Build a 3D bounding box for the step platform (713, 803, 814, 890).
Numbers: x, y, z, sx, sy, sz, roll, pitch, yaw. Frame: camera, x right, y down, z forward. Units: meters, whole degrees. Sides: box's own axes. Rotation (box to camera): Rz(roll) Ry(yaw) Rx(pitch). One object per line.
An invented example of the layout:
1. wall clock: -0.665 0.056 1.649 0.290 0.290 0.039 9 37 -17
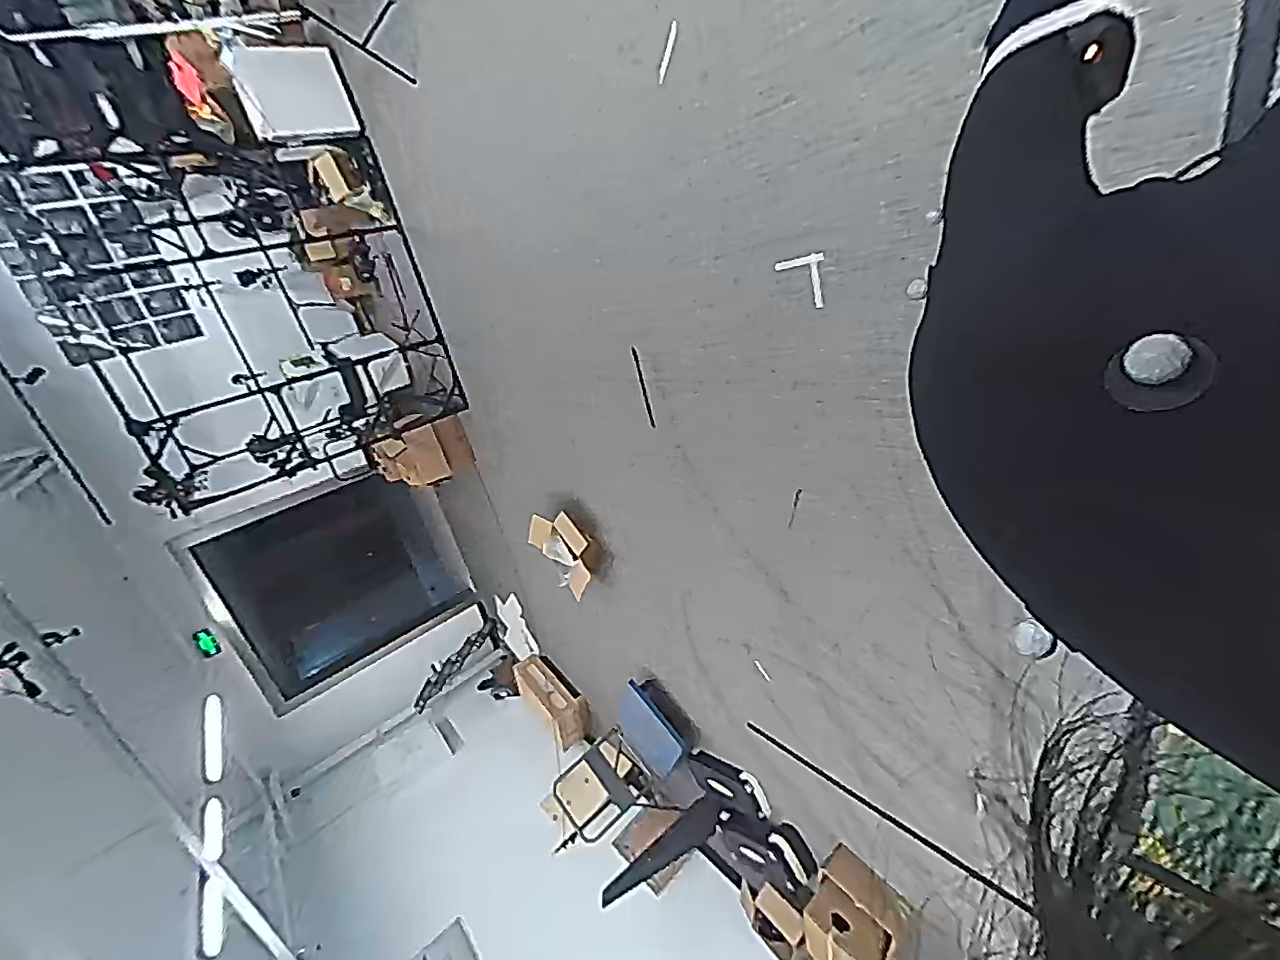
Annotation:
1. step platform: 0.747 2.283 3.386 0.286 0.204 0.684 60 148 3
